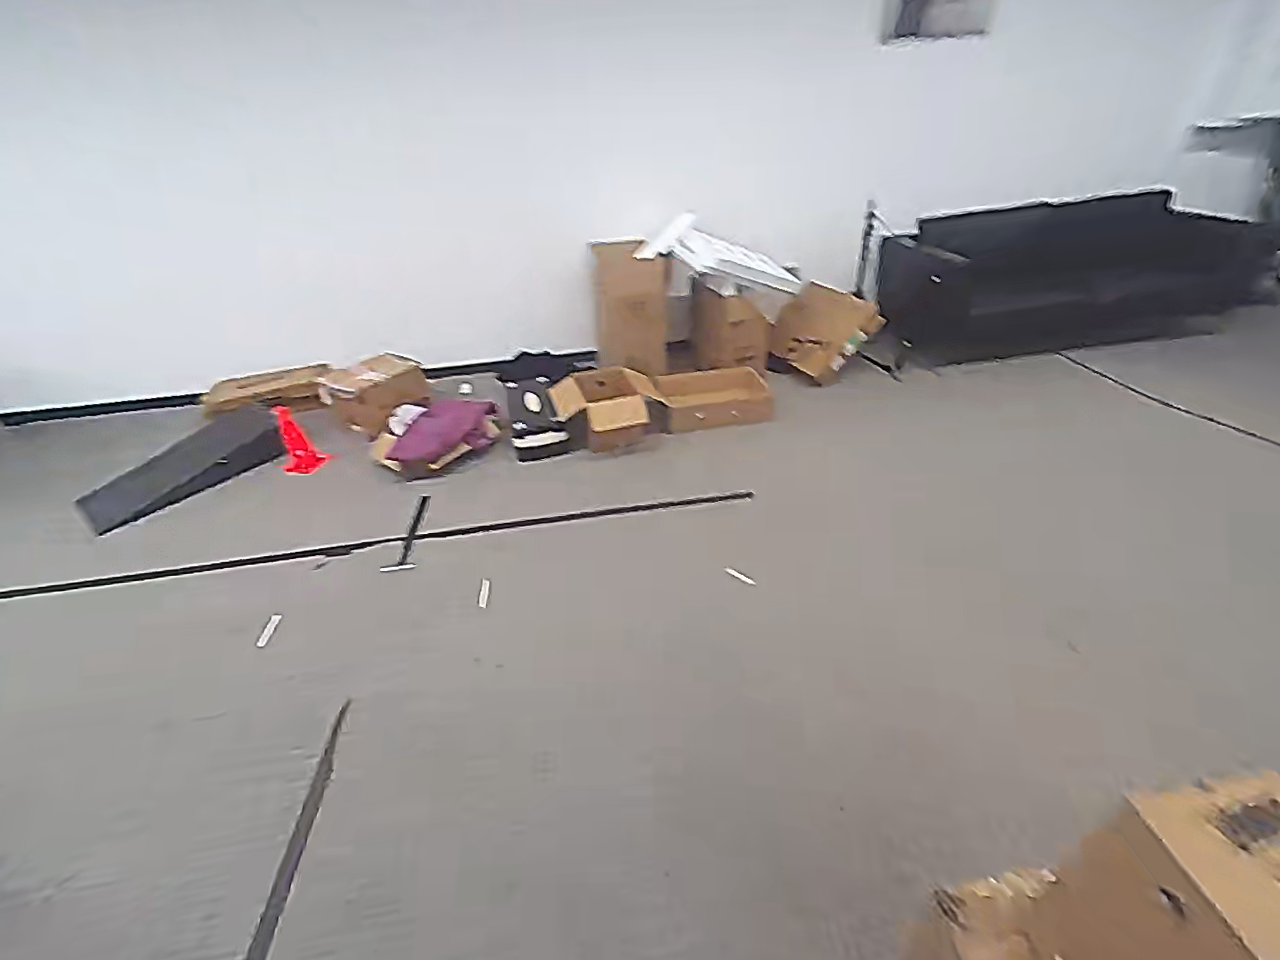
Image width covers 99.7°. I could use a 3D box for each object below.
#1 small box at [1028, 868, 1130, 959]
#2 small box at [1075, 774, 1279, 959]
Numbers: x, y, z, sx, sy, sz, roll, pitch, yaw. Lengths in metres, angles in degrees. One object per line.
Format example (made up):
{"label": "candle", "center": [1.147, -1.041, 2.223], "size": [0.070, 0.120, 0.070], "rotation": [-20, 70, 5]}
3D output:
{"label": "small box", "center": [0.590, 0.552, 0.607], "size": [0.179, 0.176, 0.168], "rotation": [-9, 33, -2]}
{"label": "small box", "center": [0.574, 0.418, 0.514], "size": [0.168, 0.176, 0.179], "rotation": [-8, 35, -3]}
